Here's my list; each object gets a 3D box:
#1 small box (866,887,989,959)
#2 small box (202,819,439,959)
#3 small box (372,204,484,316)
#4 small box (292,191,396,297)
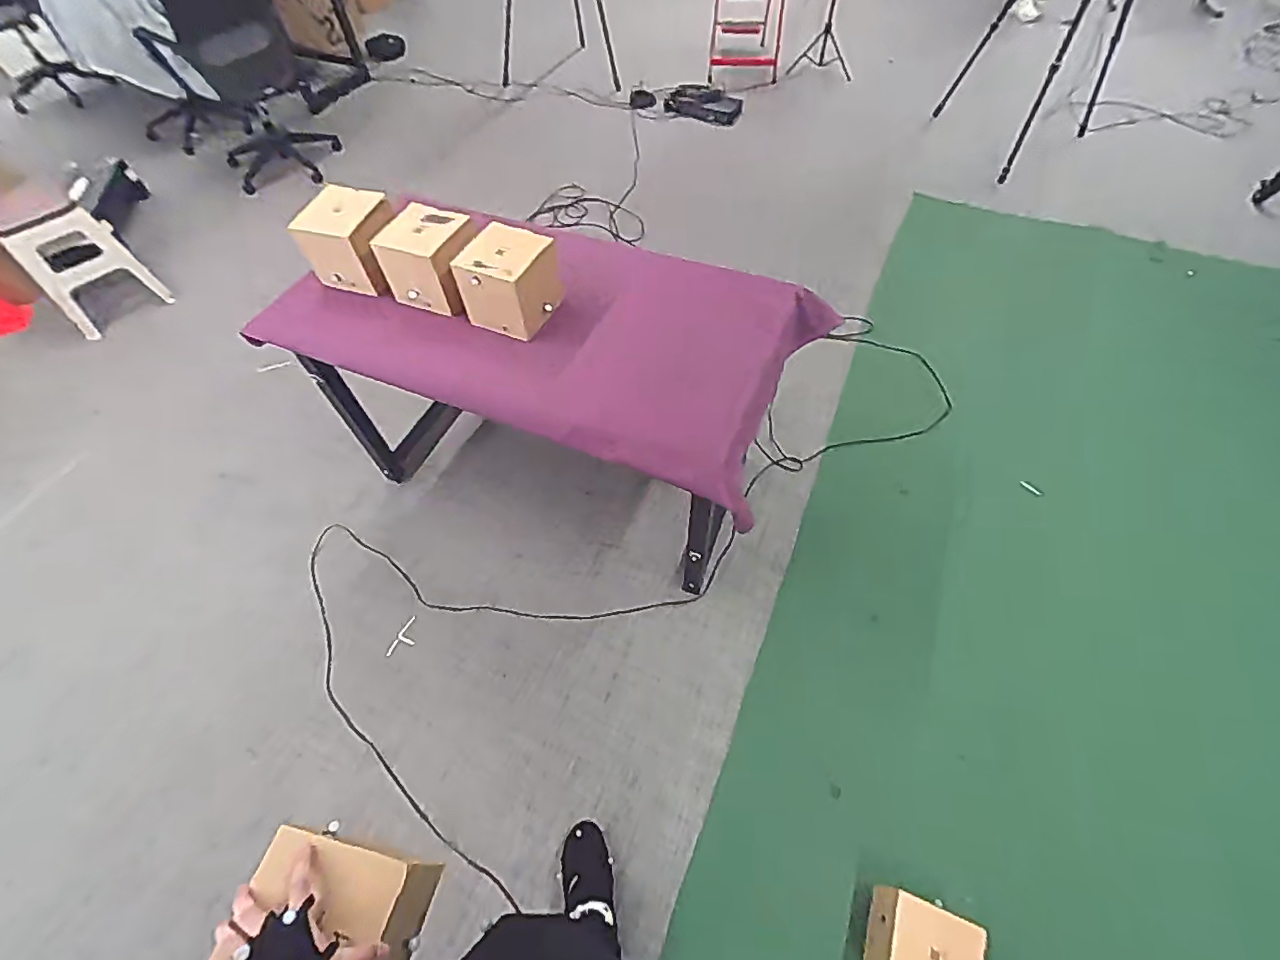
[{"bbox_3d":[0.595,0.988,1.135,0.179,0.176,0.168,19,59,13],"label":"small box"},{"bbox_3d":[-0.386,0.548,0.680,0.179,0.176,0.168,12,55,6],"label":"small box"},{"bbox_3d":[-0.502,-0.532,1.316,0.168,0.176,0.179,18,60,14],"label":"small box"},{"bbox_3d":[-0.715,-0.594,1.365,0.168,0.176,0.179,14,59,12],"label":"small box"}]
